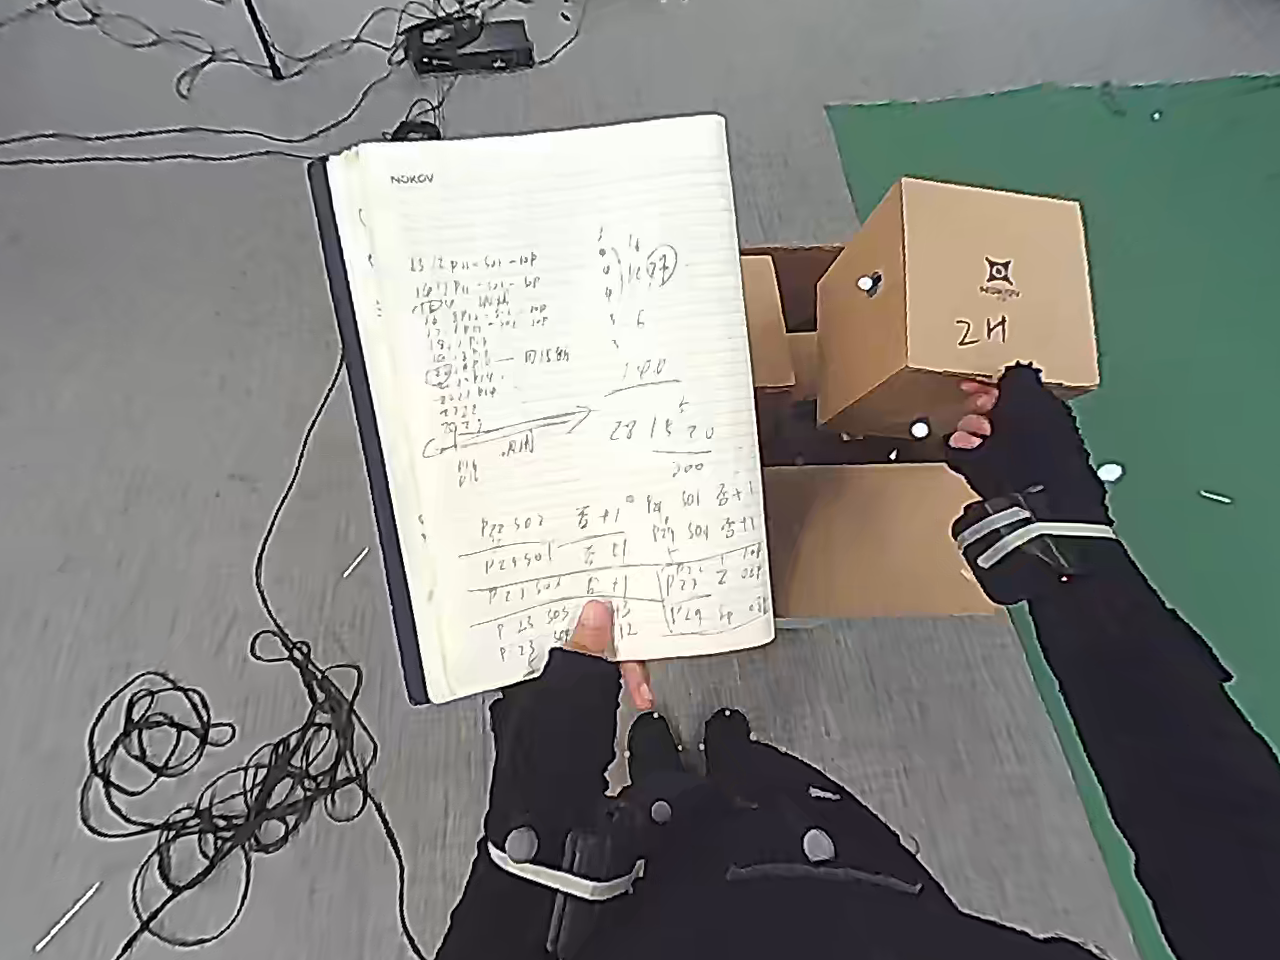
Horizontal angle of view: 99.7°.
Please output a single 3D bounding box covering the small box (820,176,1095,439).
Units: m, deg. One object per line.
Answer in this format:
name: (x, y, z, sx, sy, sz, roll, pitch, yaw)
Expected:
small box: (0.287, -0.152, 0.528, 0.168, 0.176, 0.179, 5, 78, -4)
